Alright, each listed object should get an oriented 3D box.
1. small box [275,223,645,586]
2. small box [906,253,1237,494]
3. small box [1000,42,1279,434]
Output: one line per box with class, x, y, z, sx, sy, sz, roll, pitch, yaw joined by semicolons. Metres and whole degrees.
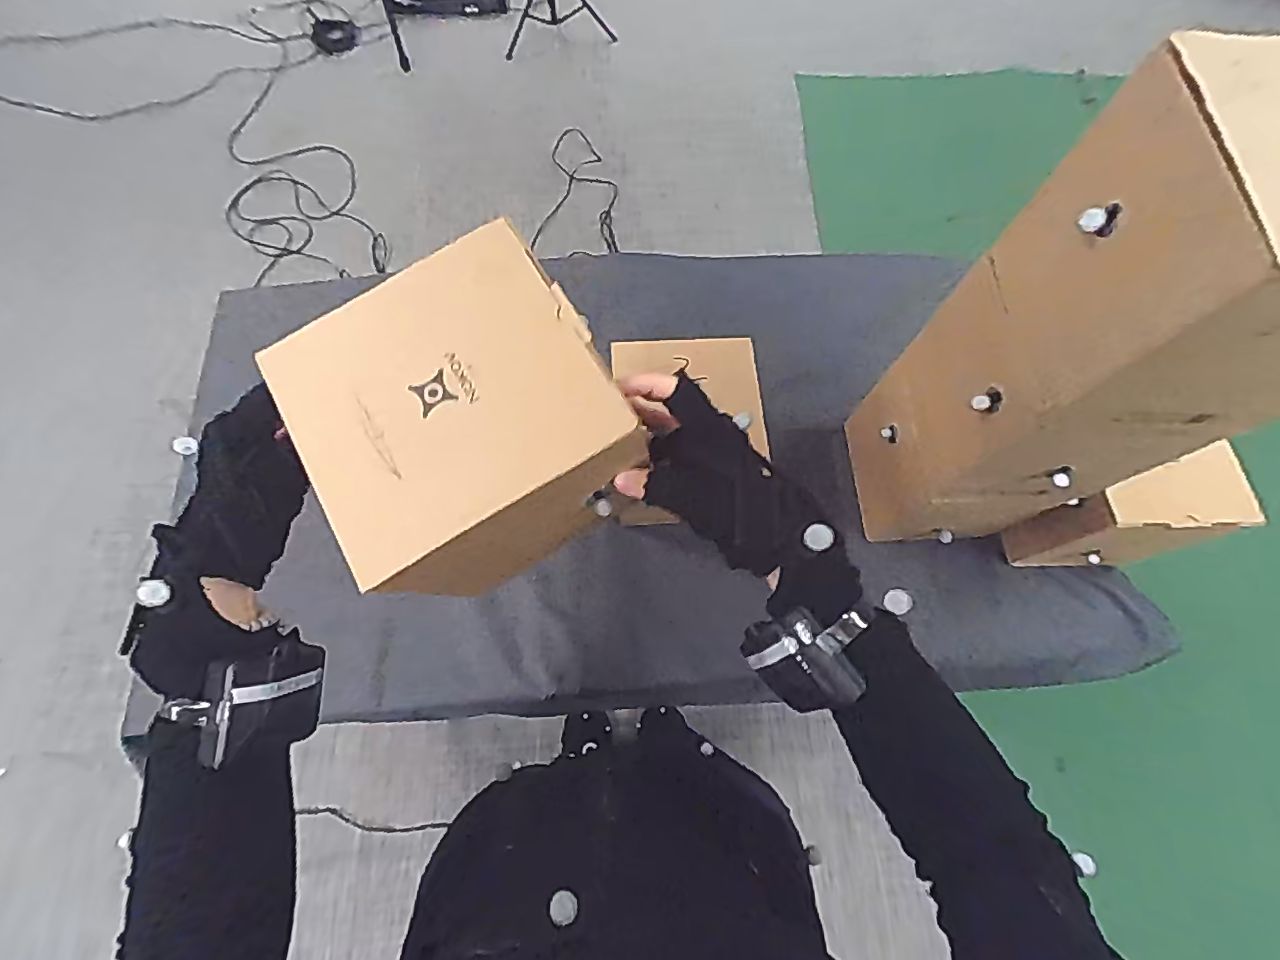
small box;-0.106;-0.036;0.396;0.179;0.176;0.168;-30;77;-1
small box;0.385;-0.091;0.520;0.168;0.176;0.179;0;69;-1
small box;0.386;-0.149;0.367;0.168;0.176;0.179;1;68;0
